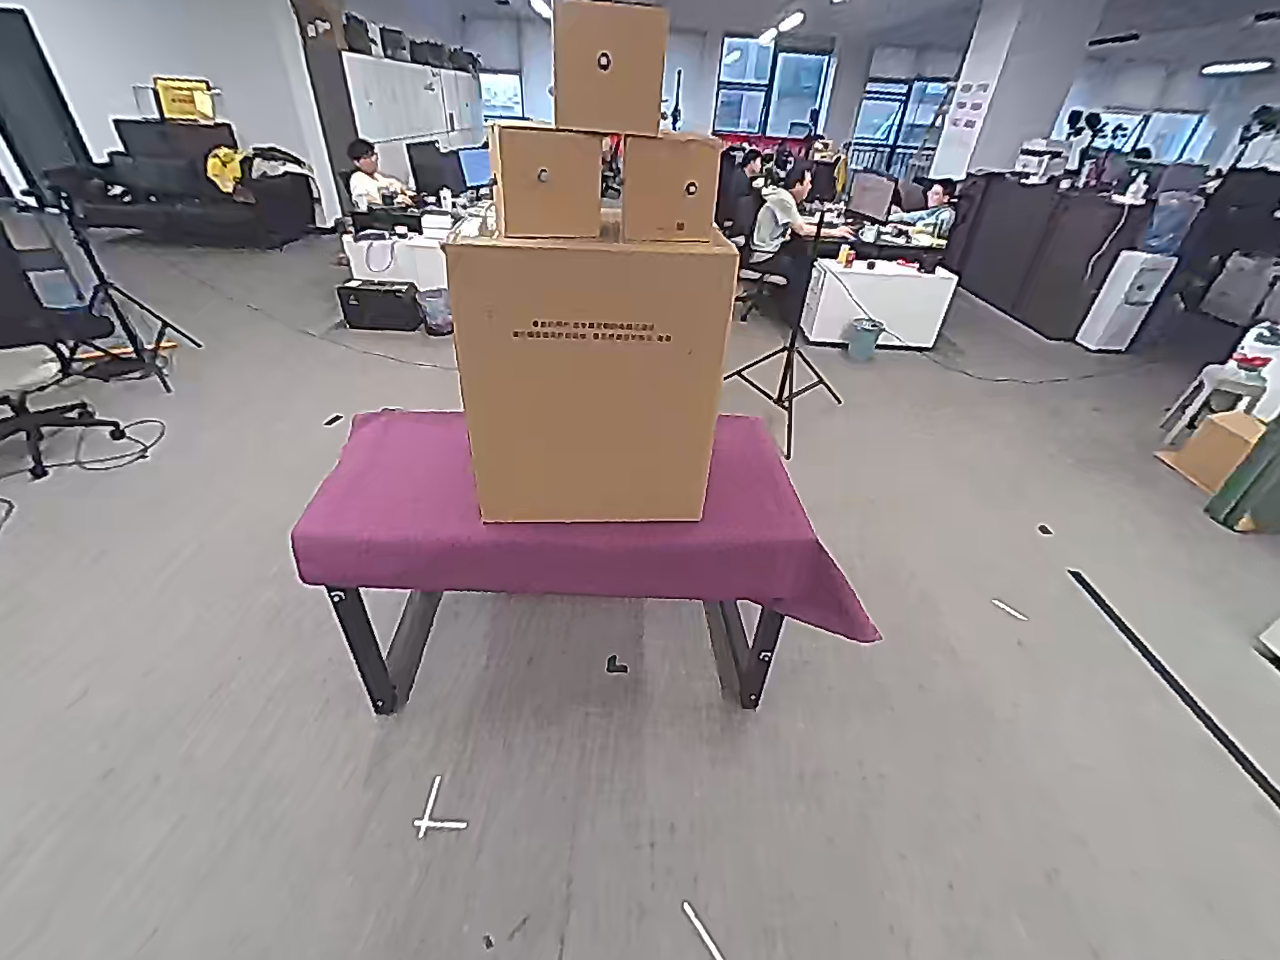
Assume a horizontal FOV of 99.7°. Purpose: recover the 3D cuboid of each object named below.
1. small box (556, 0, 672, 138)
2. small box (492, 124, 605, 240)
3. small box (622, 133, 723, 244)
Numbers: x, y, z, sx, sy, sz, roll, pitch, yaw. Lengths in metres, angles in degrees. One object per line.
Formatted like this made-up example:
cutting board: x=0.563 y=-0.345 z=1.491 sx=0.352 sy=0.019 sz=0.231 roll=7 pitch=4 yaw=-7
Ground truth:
small box: x=-0.045 y=-0.682 z=0.911 sx=0.179 sy=0.176 sz=0.168 roll=2 pitch=35 yaw=-3
small box: x=-0.169 y=-0.547 z=0.995 sx=0.179 sy=0.176 sz=0.168 roll=-7 pitch=37 yaw=-17
small box: x=0.054 y=-0.553 z=1.024 sx=0.168 sy=0.176 sz=0.179 roll=0 pitch=34 yaw=-6
